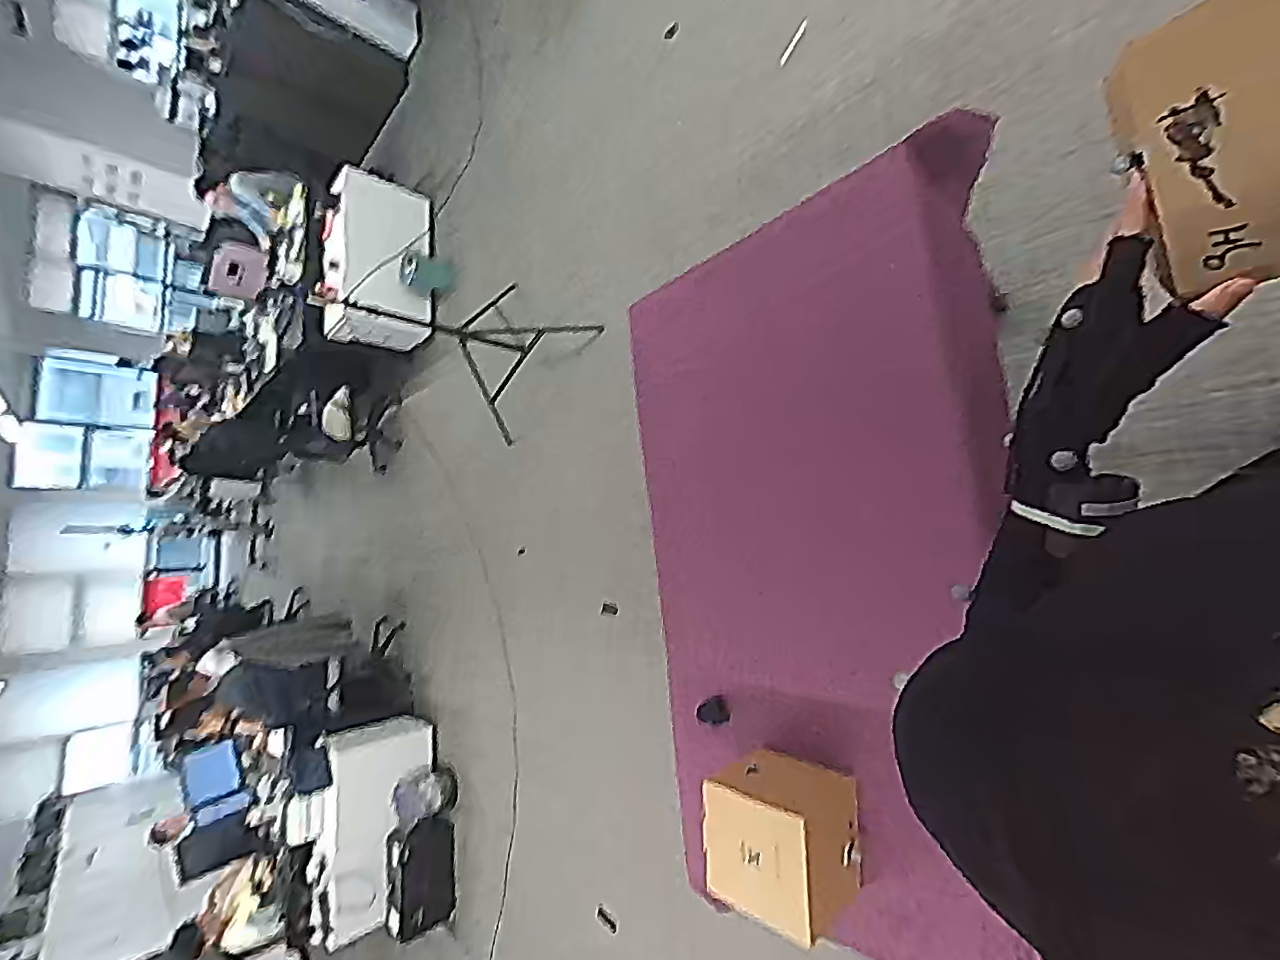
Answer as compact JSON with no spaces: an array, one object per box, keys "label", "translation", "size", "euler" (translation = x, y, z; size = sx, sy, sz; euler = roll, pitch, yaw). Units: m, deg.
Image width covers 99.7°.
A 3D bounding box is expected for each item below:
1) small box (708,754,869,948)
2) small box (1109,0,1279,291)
[{"label":"small box","translation":[0.225,0.542,0.825],"size":[0.179,0.176,0.168],"euler":[-8,83,45]},{"label":"small box","translation":[0.423,-0.240,0.330],"size":[0.179,0.176,0.168],"euler":[-16,103,42]}]
